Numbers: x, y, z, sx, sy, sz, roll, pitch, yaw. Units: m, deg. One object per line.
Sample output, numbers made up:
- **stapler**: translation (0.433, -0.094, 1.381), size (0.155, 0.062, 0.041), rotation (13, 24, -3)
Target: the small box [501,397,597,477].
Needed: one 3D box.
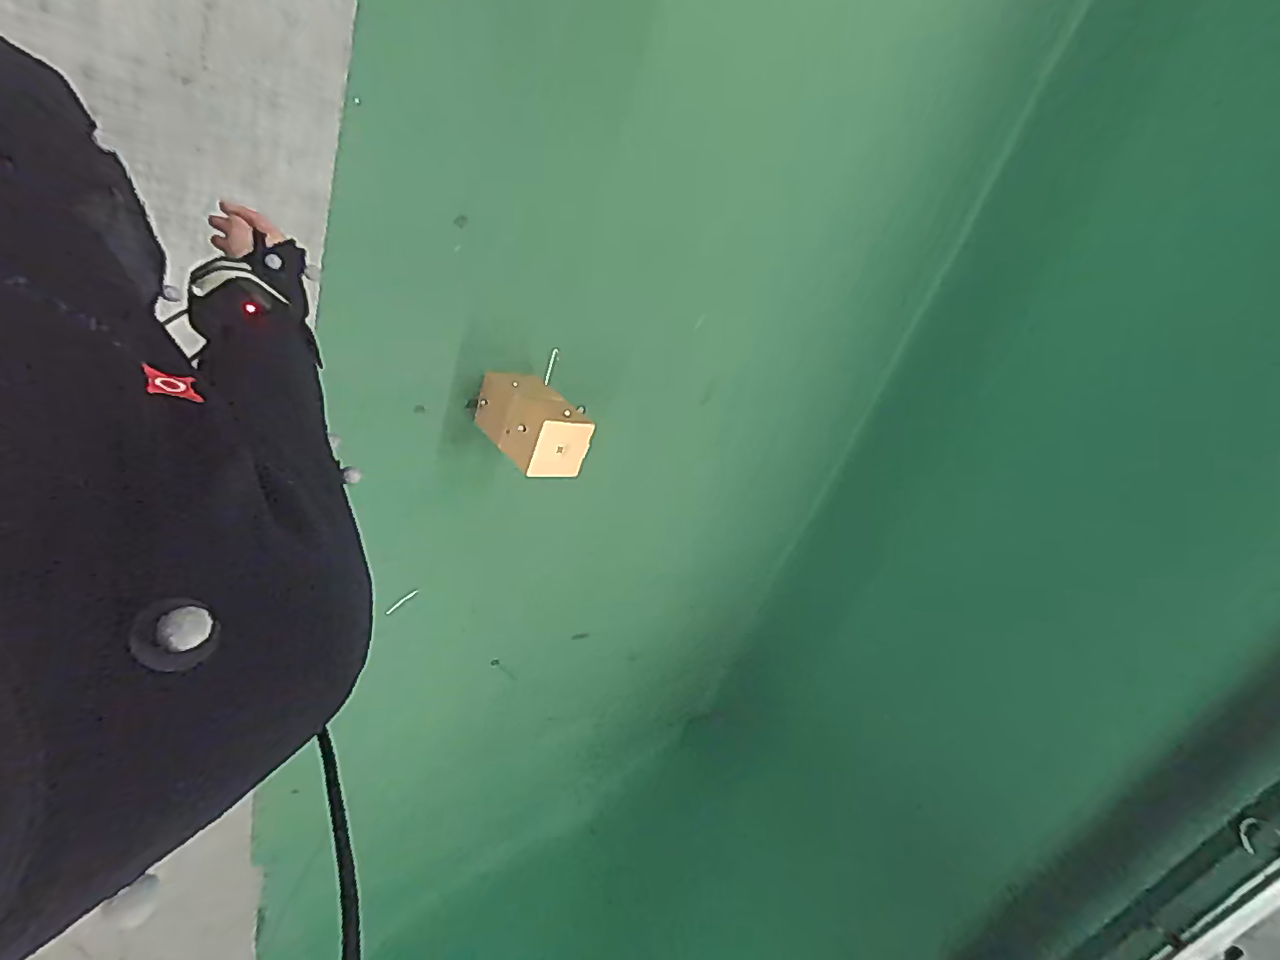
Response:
- **small box**: translation (-0.257, -0.120, 1.494), size (0.179, 0.176, 0.168), rotation (-1, 120, -47)
